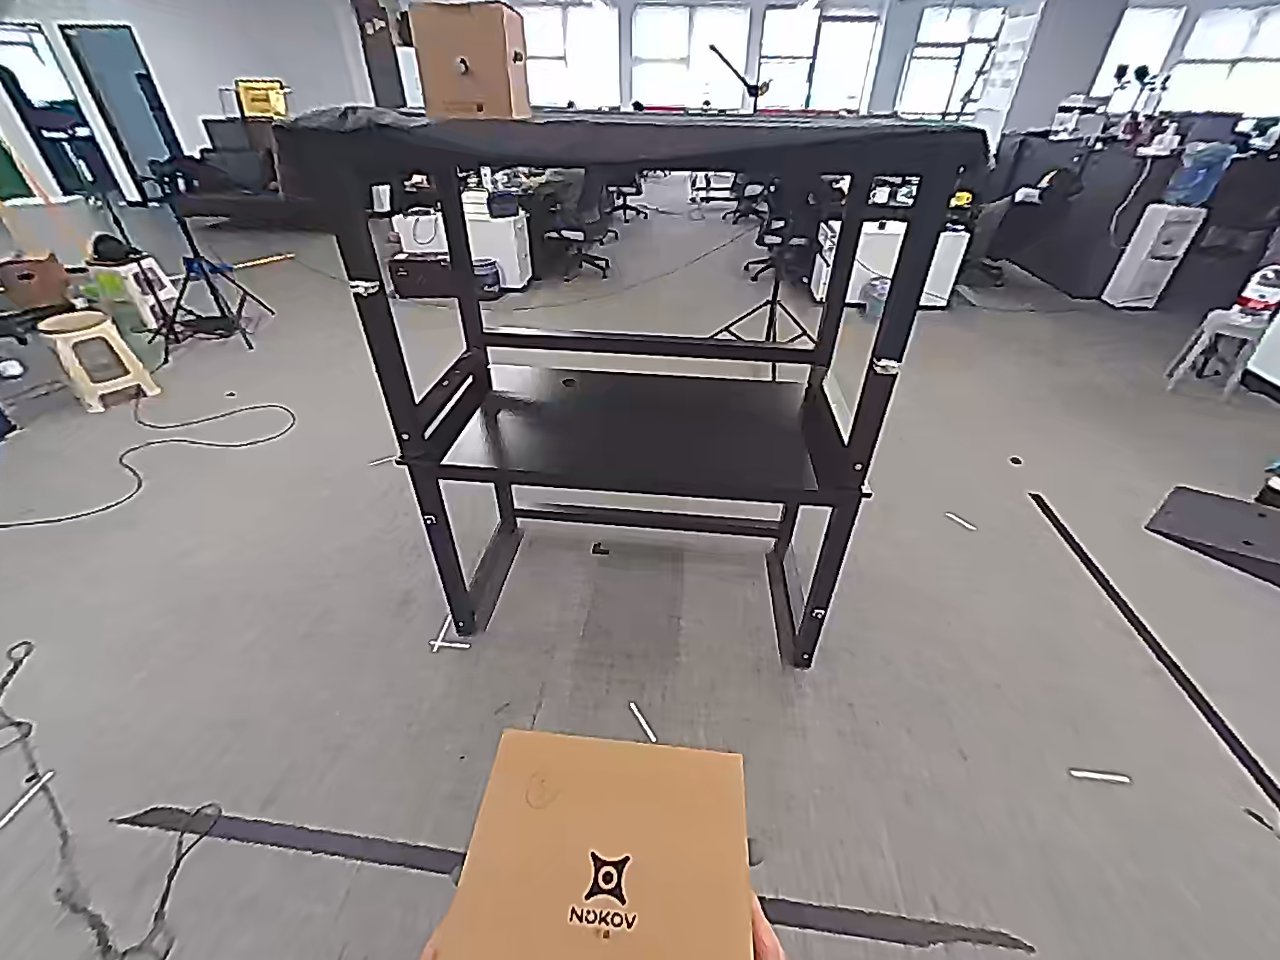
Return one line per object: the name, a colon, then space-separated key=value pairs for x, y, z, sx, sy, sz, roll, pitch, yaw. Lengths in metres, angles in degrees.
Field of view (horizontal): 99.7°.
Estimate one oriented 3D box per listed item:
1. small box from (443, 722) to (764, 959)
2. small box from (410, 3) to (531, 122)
small box: x=-0.018 y=0.288 z=0.349 sx=0.168 sy=0.176 sz=0.179 roll=5 pitch=40 yaw=3
small box: x=-0.305 y=-0.779 z=1.020 sx=0.168 sy=0.176 sz=0.179 roll=2 pitch=35 yaw=1
